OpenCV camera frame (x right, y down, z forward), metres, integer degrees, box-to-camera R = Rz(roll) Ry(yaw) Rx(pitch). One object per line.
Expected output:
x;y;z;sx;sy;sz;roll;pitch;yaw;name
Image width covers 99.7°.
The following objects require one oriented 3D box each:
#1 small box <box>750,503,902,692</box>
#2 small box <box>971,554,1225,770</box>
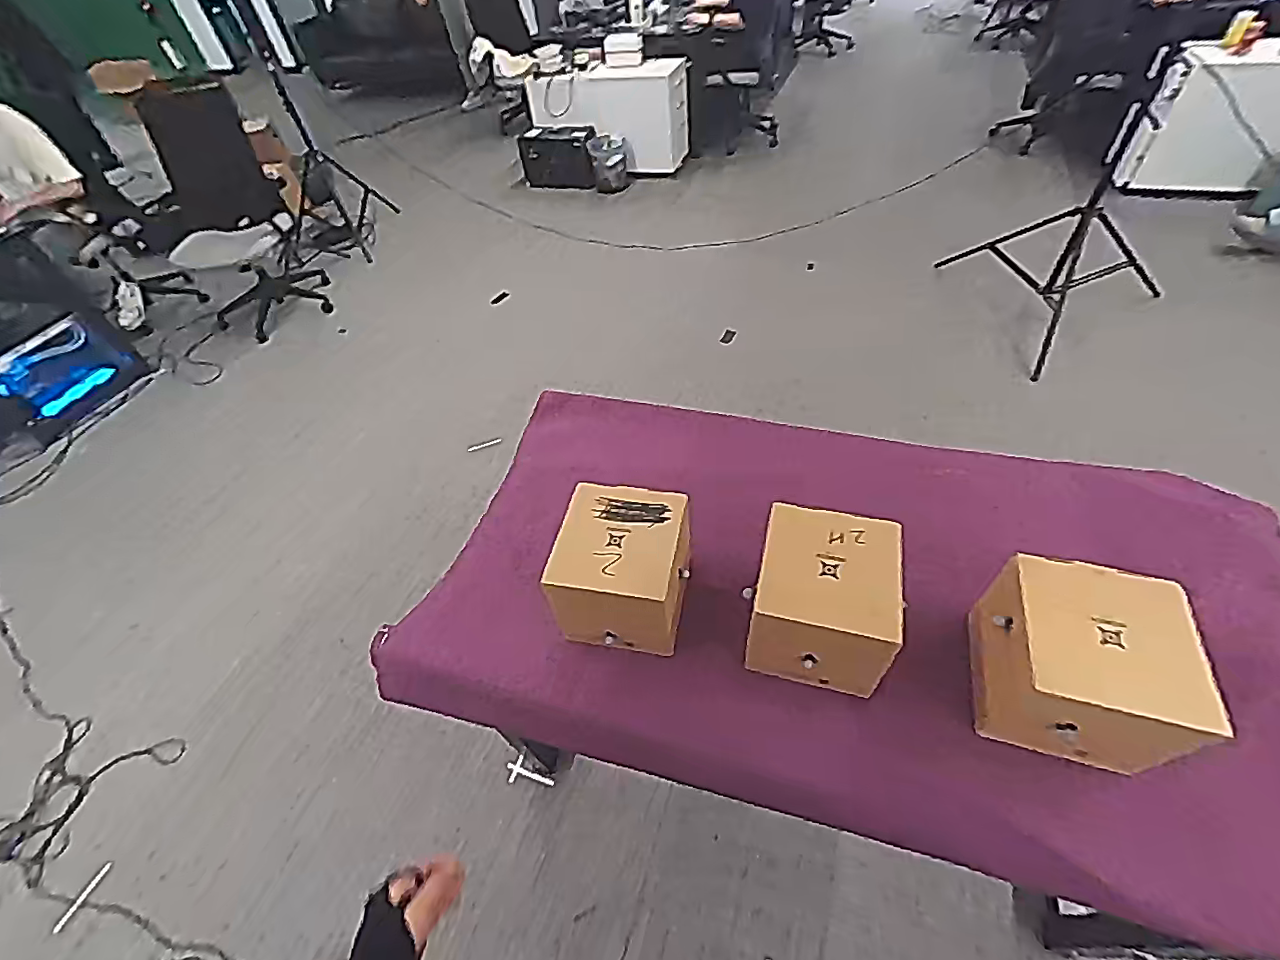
0.246;0.161;0.733;0.168;0.176;0.179;10;50;14;small box
0.519;0.220;0.649;0.168;0.176;0.179;10;51;16;small box
